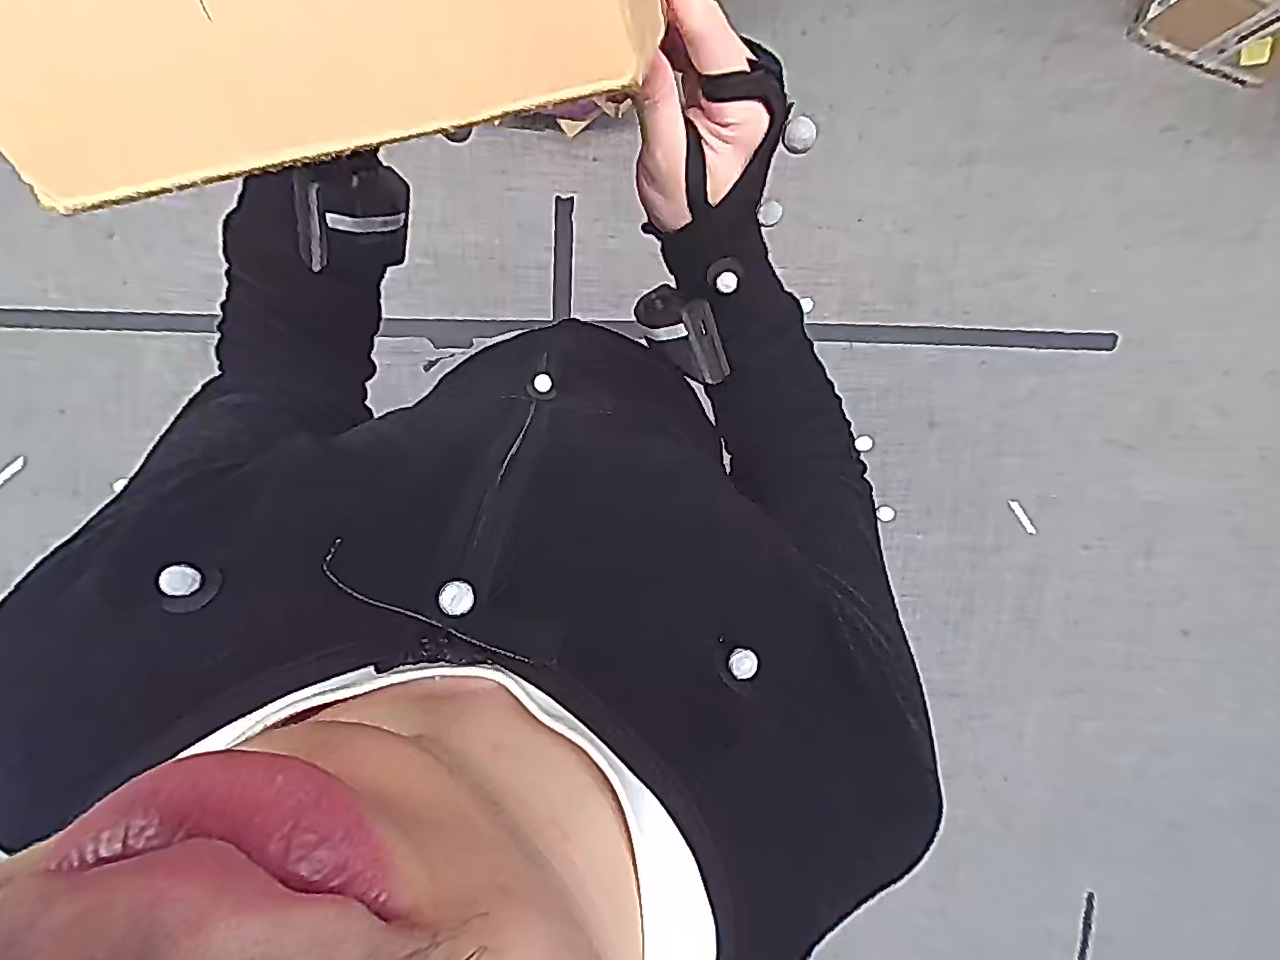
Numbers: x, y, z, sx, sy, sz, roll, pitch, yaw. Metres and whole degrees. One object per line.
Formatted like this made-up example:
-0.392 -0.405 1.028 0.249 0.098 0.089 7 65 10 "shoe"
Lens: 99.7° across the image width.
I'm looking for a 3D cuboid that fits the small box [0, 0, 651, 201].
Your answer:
-0.092 -0.204 0.150 0.168 0.176 0.179 -4 132 10 "small box"
